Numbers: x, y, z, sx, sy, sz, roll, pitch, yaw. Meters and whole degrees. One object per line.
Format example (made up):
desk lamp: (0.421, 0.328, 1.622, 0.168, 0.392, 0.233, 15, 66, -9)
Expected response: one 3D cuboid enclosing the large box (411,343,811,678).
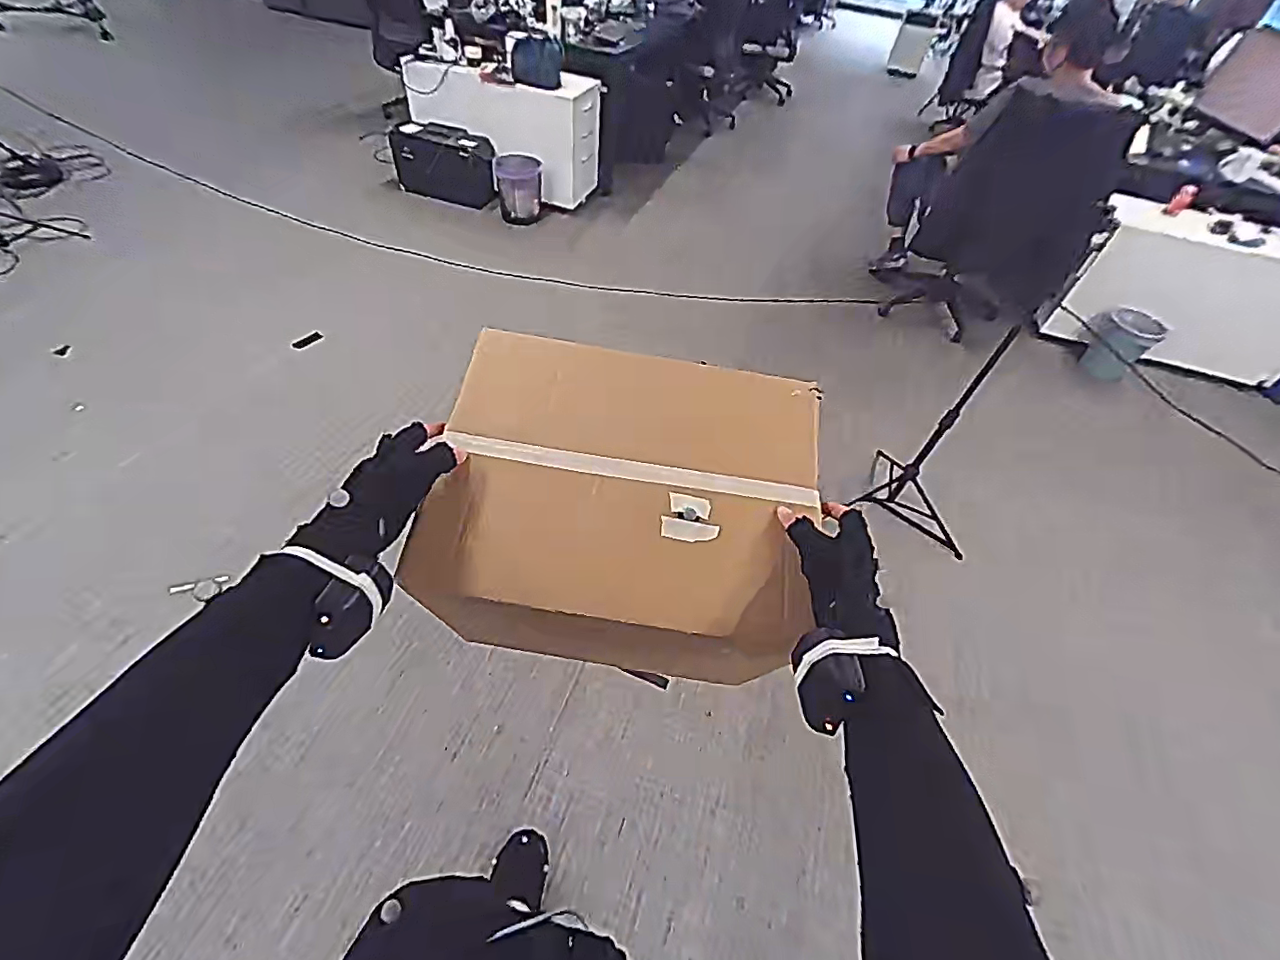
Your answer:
large box: (-0.024, 0.061, 0.724, 0.408, 0.320, 0.320, 10, 64, -1)
